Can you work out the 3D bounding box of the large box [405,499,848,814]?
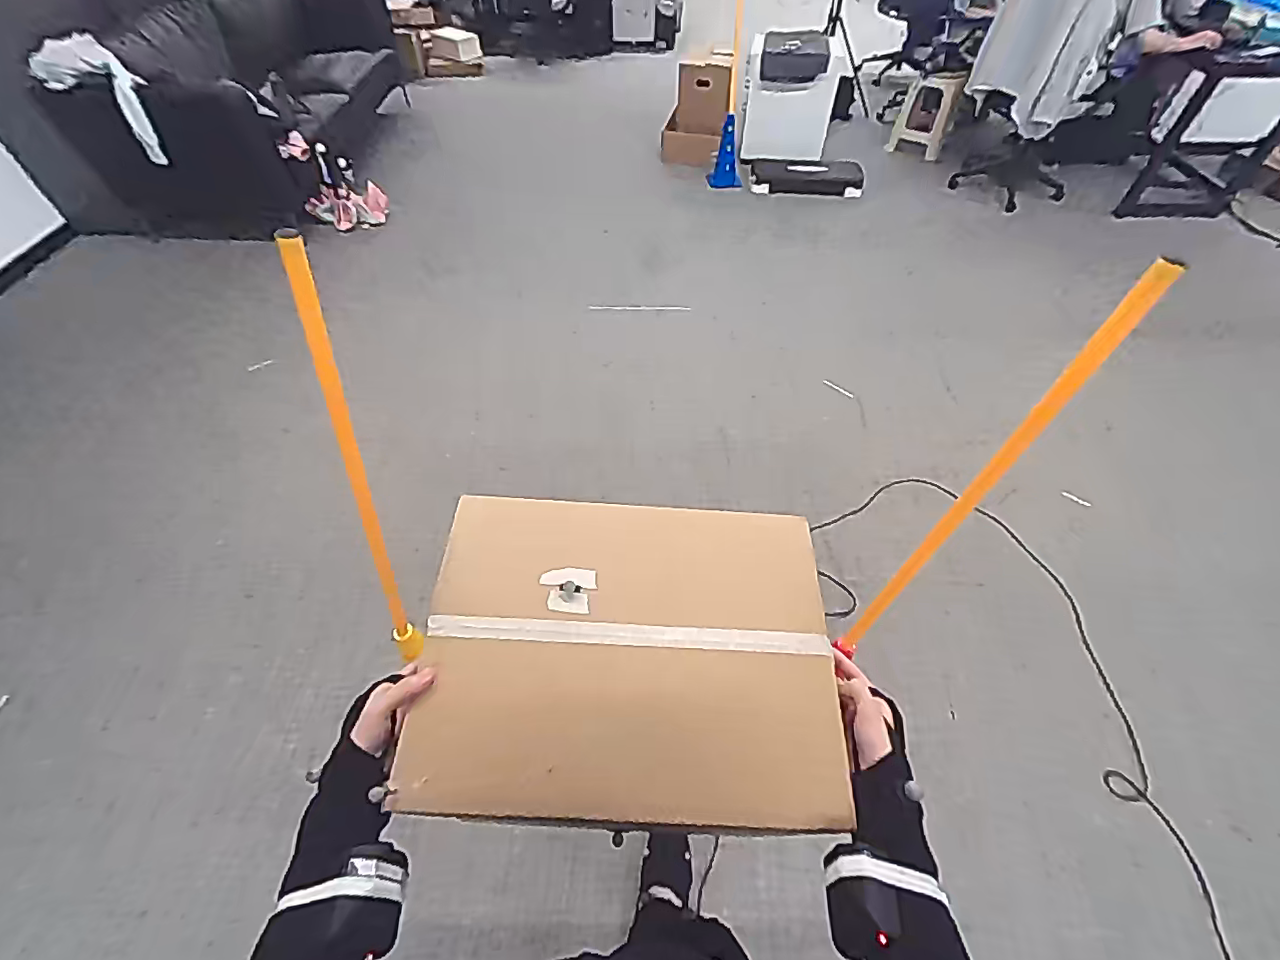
[{"bbox_3d":[-0.011,0.239,0.685,0.408,0.320,0.320,3,56,-1],"label":"large box"}]
